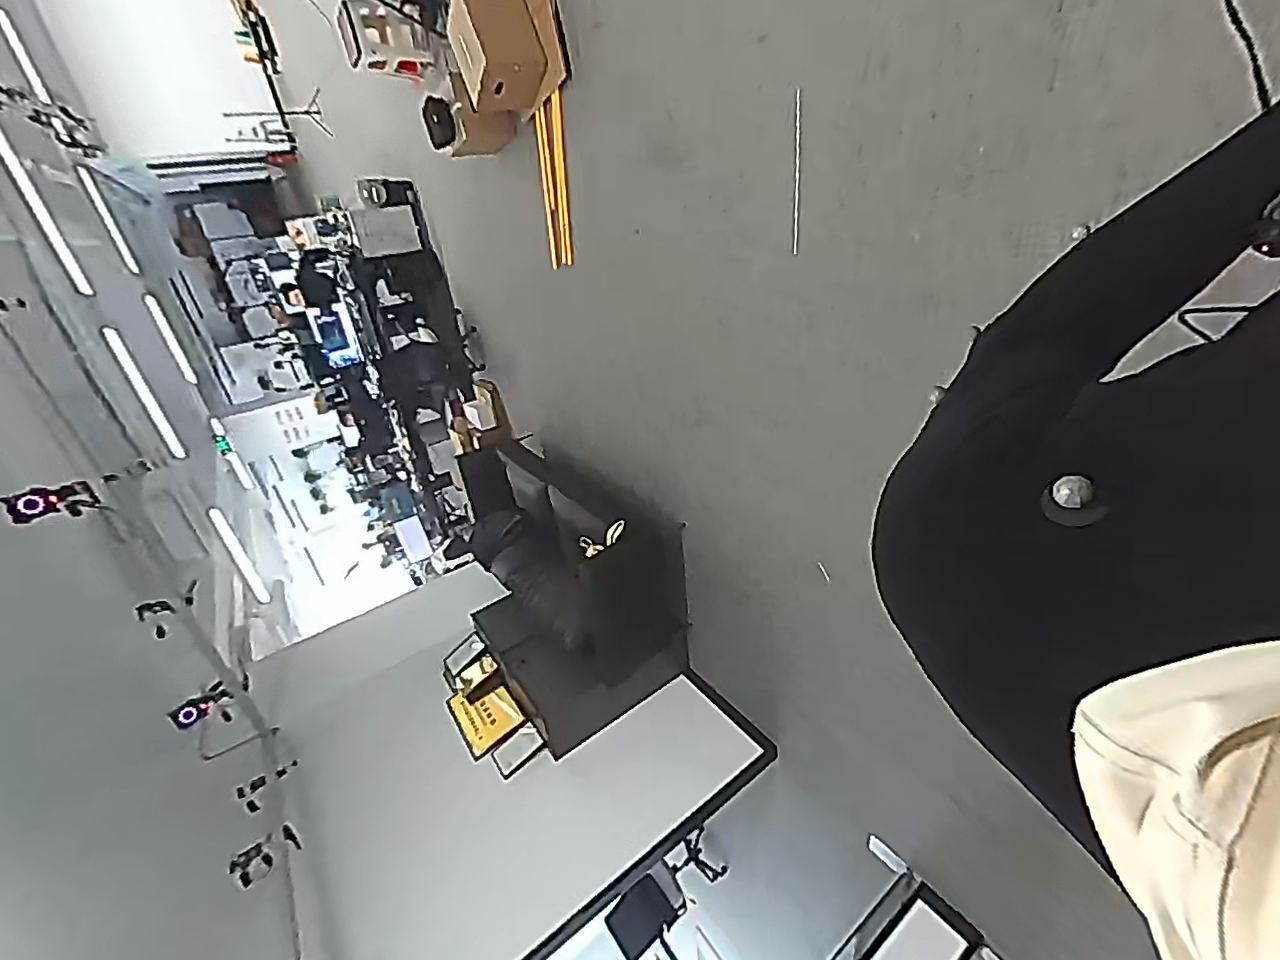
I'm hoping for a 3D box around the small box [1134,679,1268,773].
[{"bbox_3d":[1.360,0.628,1.314,0.168,0.176,0.179,33,137,43],"label":"small box"}]

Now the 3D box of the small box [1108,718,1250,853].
[{"bbox_3d":[1.229,0.688,1.234,0.168,0.176,0.179,34,140,42],"label":"small box"}]
